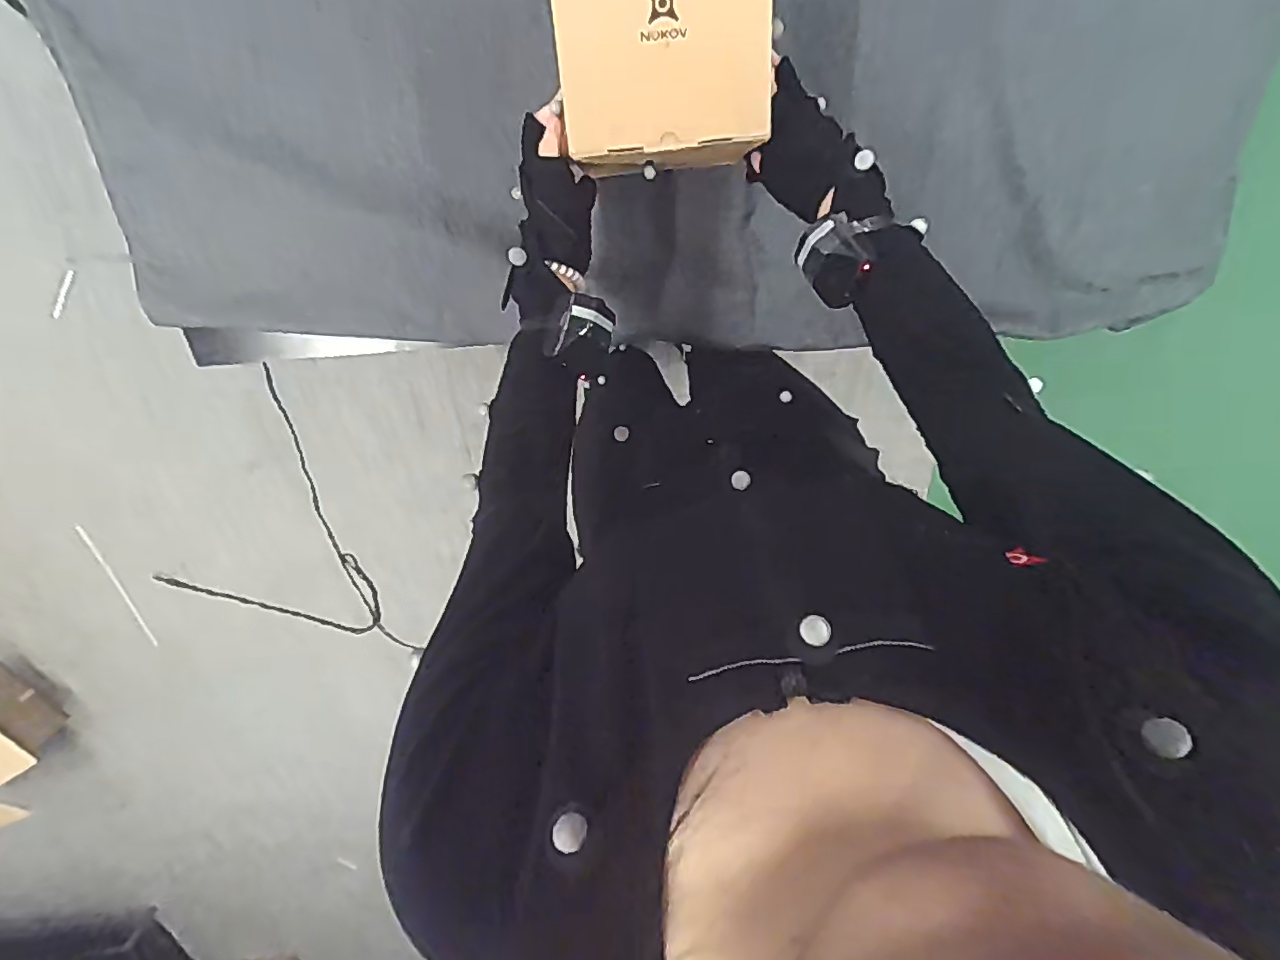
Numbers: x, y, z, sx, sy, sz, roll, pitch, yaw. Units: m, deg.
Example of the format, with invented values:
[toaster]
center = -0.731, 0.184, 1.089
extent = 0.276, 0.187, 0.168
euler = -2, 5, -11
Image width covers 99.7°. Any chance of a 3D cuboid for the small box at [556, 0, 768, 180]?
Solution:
[small box]
center = 0.015, -0.383, 0.491
extent = 0.168, 0.176, 0.179
euler = -5, 116, 1
